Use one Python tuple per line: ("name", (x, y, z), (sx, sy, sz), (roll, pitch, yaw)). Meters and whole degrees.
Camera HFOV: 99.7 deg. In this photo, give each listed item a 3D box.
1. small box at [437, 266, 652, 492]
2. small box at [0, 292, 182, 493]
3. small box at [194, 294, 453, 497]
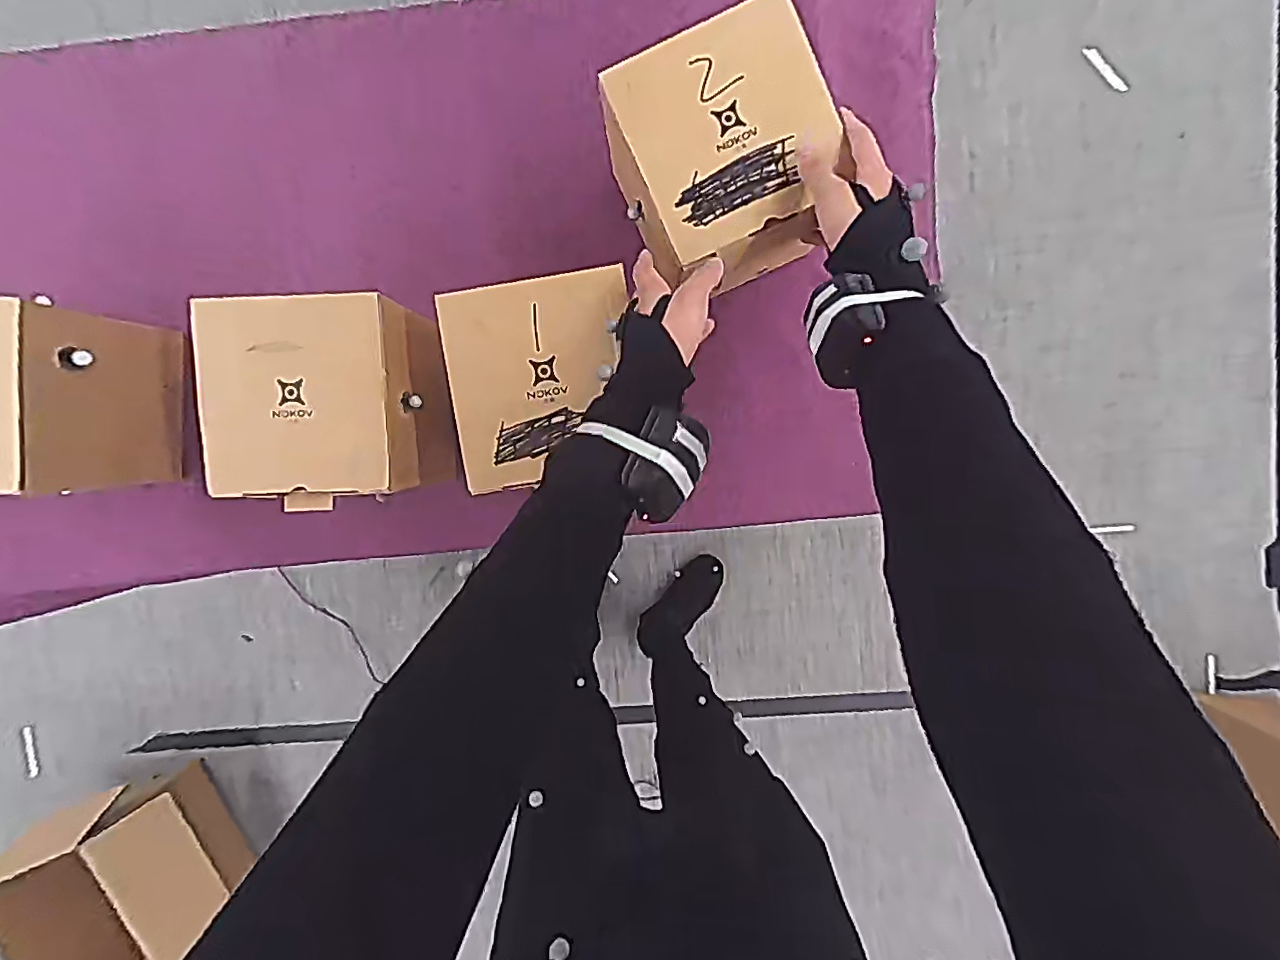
("small box", (-0.079, -0.091, 0.543), (0.168, 0.176, 0.179), (-8, 93, 2))
("small box", (-0.617, -0.088, 0.552), (0.168, 0.176, 0.179), (6, 95, 1))
("small box", (-0.299, -0.079, 0.550), (0.168, 0.176, 0.179), (-1, 95, 0))
